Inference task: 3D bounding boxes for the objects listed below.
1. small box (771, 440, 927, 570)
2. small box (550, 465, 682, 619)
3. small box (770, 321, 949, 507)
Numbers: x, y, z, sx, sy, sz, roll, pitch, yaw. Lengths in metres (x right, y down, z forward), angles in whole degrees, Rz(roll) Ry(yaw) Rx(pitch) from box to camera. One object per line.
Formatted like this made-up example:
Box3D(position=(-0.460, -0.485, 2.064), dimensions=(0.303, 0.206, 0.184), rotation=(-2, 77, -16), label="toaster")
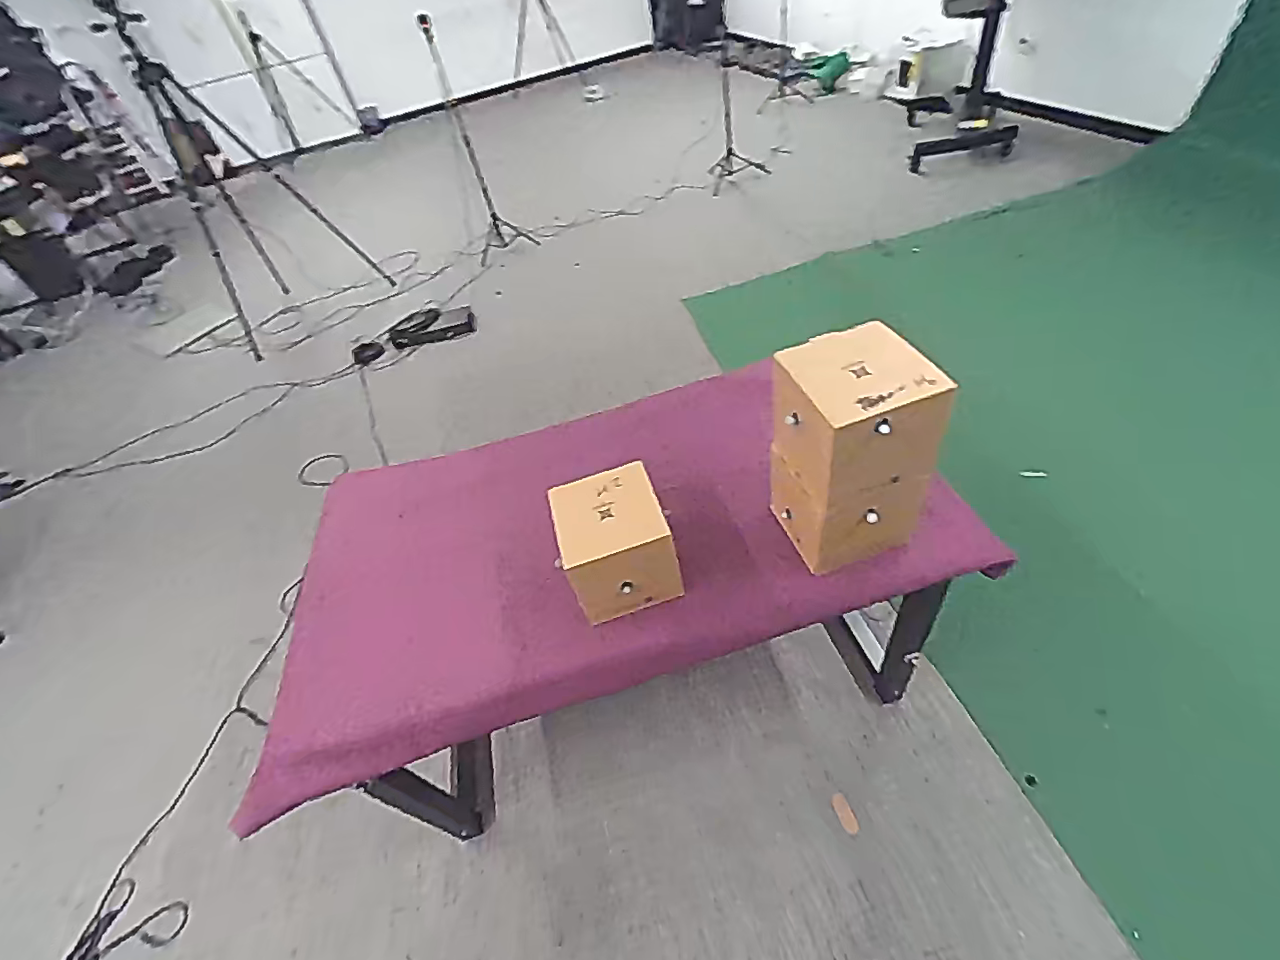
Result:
Box3D(position=(0.331, 0.019, 0.892), dimensions=(0.179, 0.176, 0.168), rotation=(-21, 47, -2), label="small box")
Box3D(position=(-0.038, 0.110, 0.906), dimensions=(0.168, 0.176, 0.179), rotation=(-19, 44, -3), label="small box")
Box3D(position=(0.299, -0.093, 0.775), dimensions=(0.168, 0.176, 0.179), rotation=(-21, 46, -1), label="small box")
